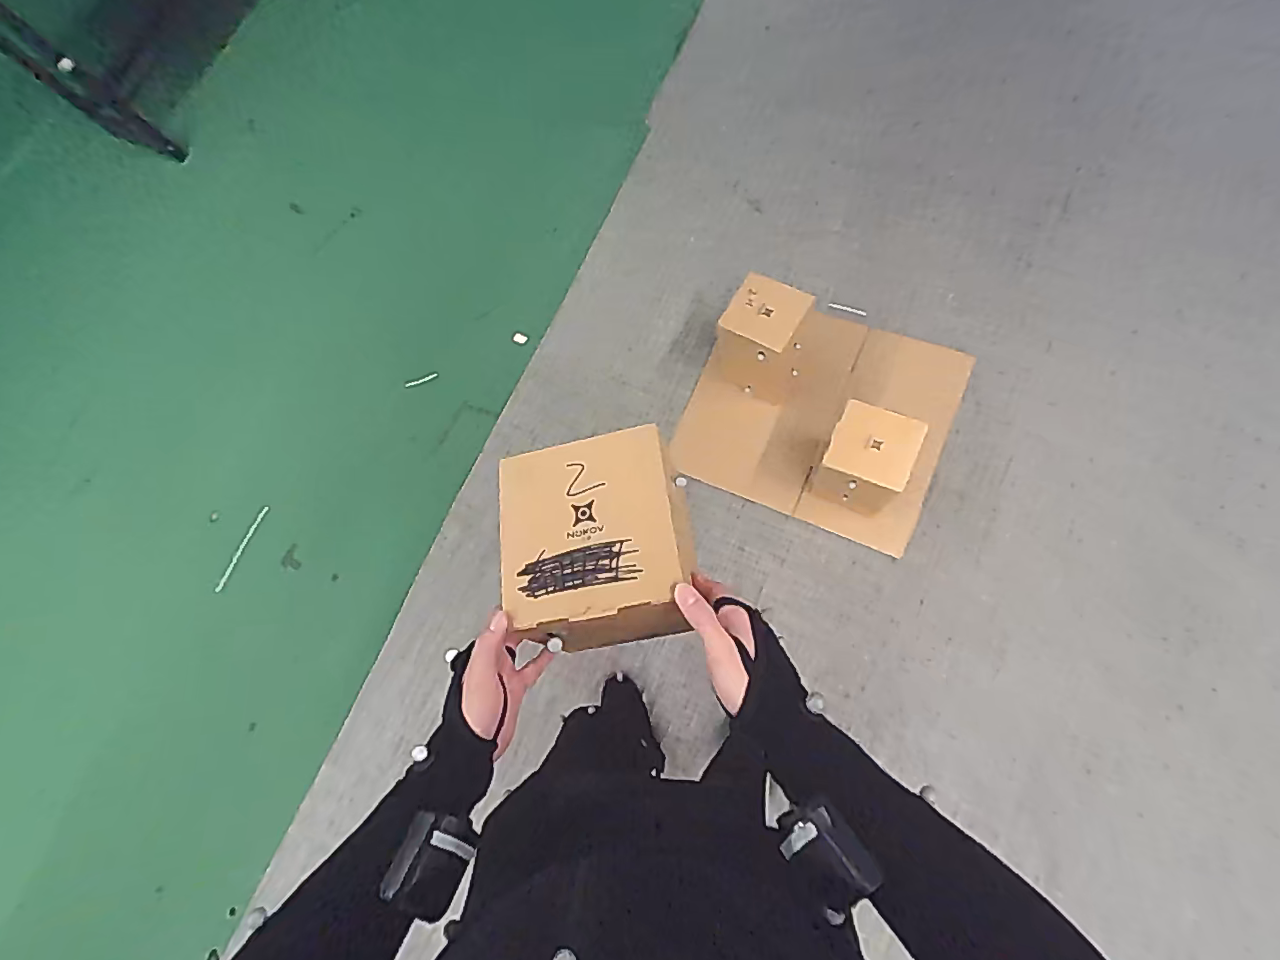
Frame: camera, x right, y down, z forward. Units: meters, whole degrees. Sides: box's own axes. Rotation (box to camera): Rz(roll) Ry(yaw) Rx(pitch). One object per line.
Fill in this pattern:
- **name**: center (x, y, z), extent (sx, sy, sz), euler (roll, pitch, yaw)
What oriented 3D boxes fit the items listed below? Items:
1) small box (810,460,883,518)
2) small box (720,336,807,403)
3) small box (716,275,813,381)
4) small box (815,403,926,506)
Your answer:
- **small box**: center (0.554, -0.015, 1.391), extent (0.179, 0.176, 0.168), euler (23, 81, 17)
- **small box**: center (0.344, -0.337, 1.521), extent (0.179, 0.176, 0.168), euler (31, 83, 17)
- **small box**: center (0.311, -0.373, 1.362), extent (0.179, 0.176, 0.168), euler (31, 82, 18)
- **small box**: center (0.518, -0.050, 1.238), extent (0.179, 0.176, 0.168), euler (22, 81, 18)
